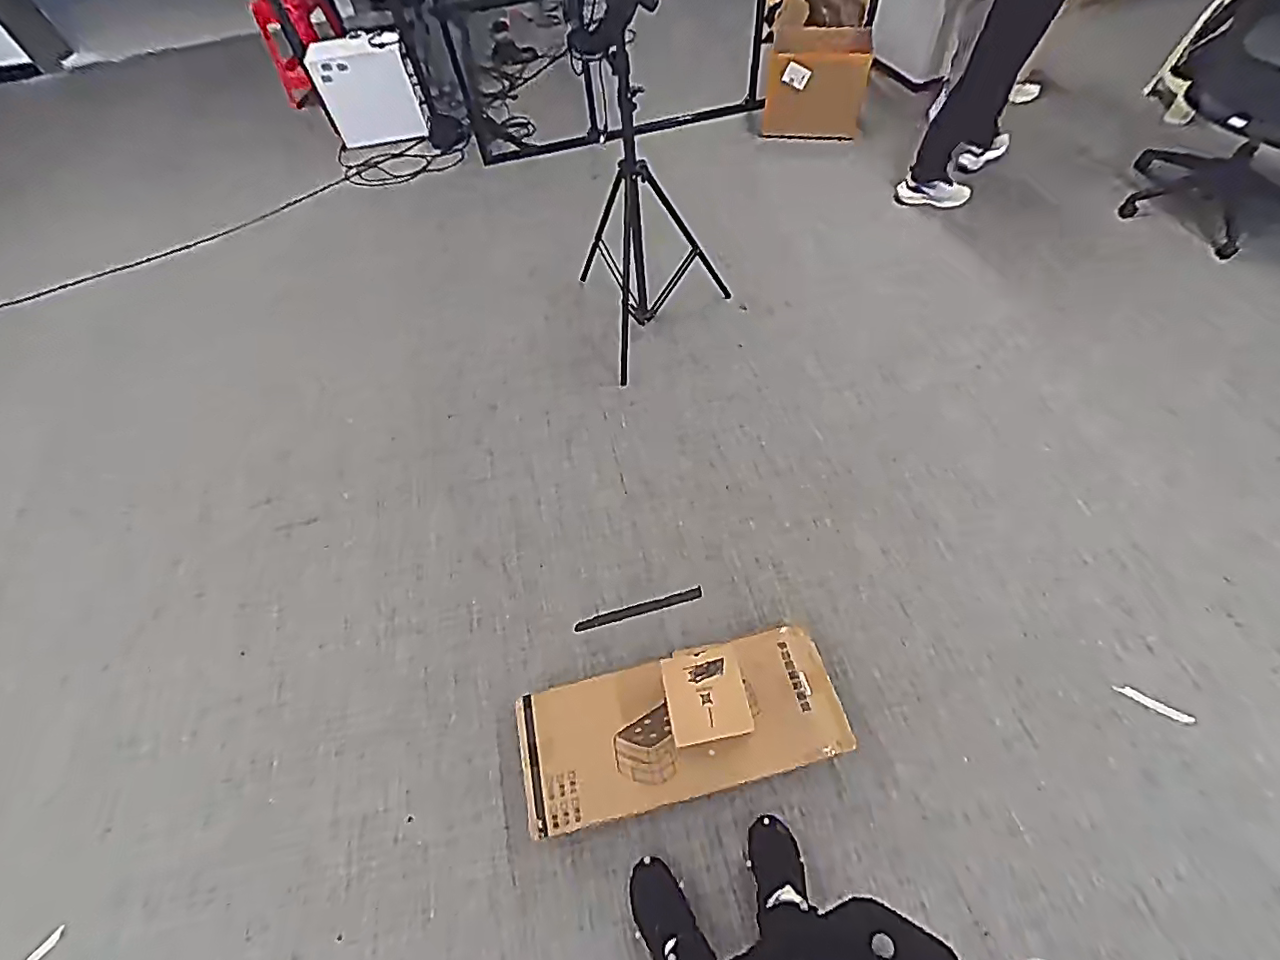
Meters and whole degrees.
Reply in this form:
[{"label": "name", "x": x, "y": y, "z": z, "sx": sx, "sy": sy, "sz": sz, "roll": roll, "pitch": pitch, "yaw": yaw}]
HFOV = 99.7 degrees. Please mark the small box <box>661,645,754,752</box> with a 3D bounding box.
[{"label": "small box", "x": 0.141, "y": 0.486, "z": 1.193, "sx": 0.168, "sy": 0.176, "sz": 0.179, "roll": -11, "pitch": 59, "yaw": -1}]
